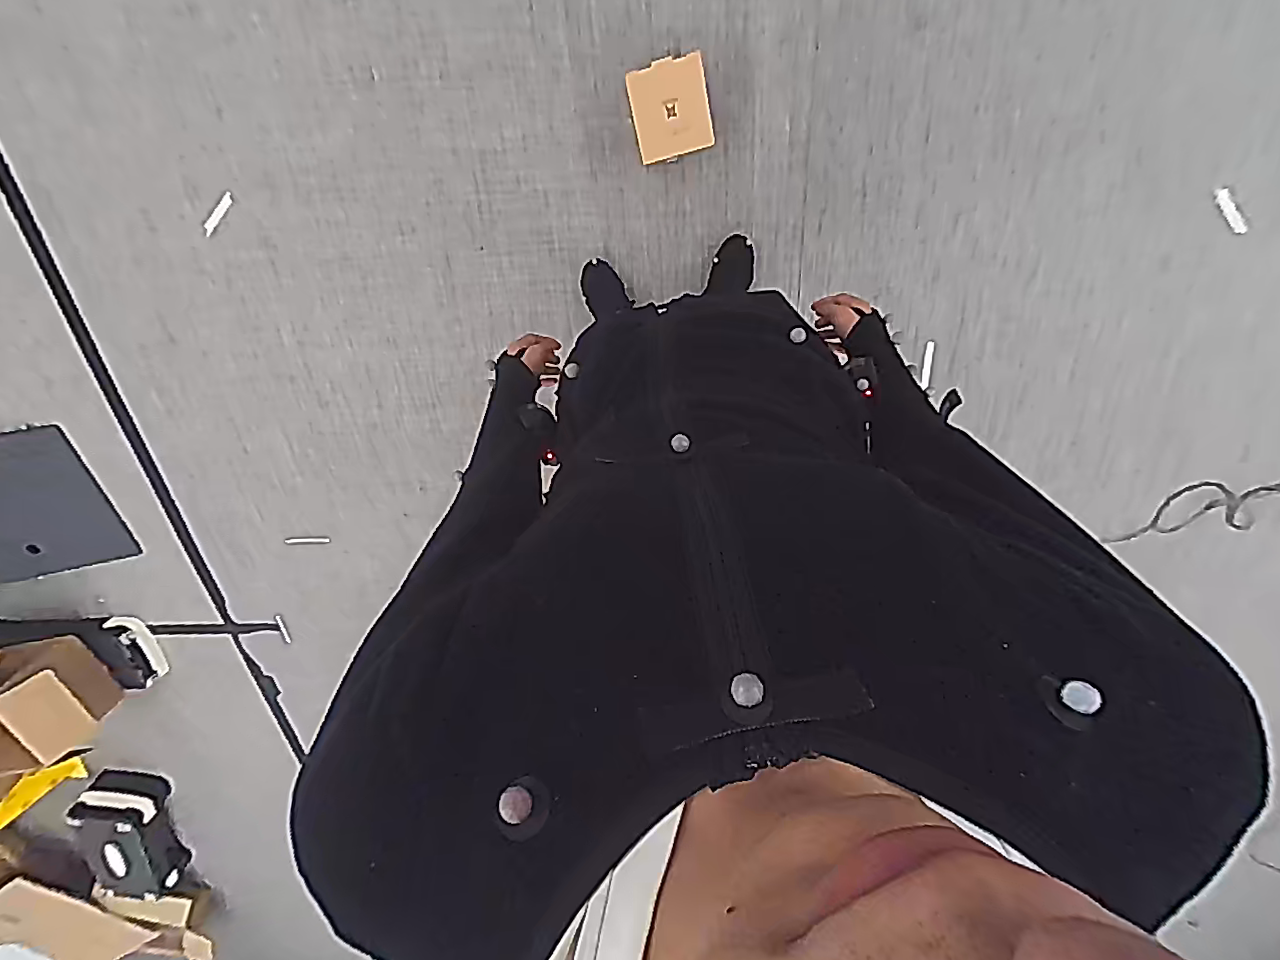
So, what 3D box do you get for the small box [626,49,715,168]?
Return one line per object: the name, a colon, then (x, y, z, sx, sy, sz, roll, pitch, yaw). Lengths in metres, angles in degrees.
small box: (0.068, -0.830, 1.227, 0.168, 0.176, 0.179, -12, 116, 8)
